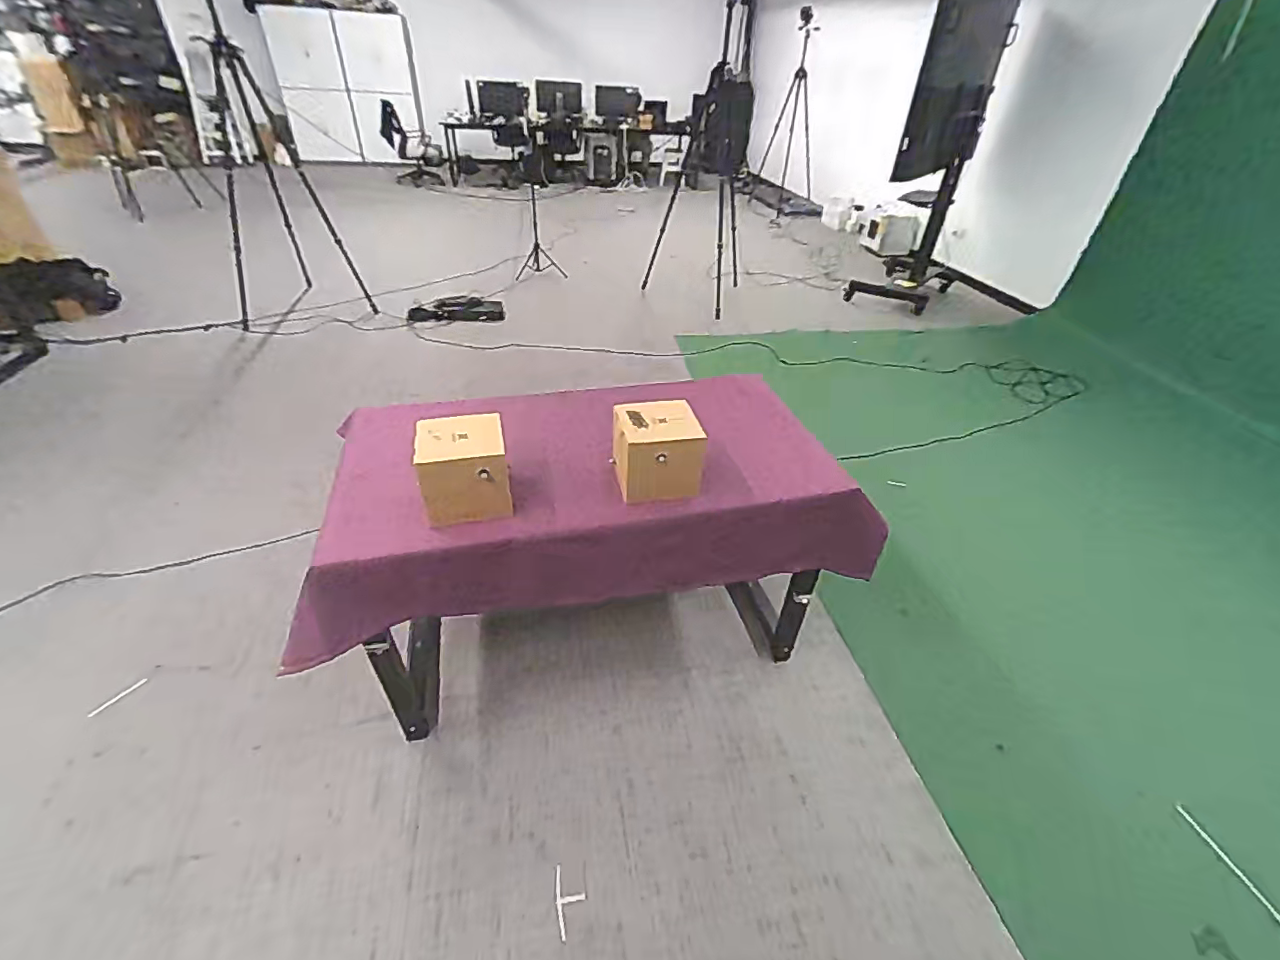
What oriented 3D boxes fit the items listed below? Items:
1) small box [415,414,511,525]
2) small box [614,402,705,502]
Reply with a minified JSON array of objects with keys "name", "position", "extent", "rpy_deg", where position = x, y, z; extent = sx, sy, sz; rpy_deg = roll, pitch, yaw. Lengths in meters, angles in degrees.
[{"name":"small box","position":[-0.375,-0.023,1.169],"extent":[0.179,0.176,0.168],"rpy_deg":[-7,38,-13]},{"name":"small box","position":[0.038,-0.064,1.253],"extent":[0.179,0.176,0.168],"rpy_deg":[-5,39,-11]}]
